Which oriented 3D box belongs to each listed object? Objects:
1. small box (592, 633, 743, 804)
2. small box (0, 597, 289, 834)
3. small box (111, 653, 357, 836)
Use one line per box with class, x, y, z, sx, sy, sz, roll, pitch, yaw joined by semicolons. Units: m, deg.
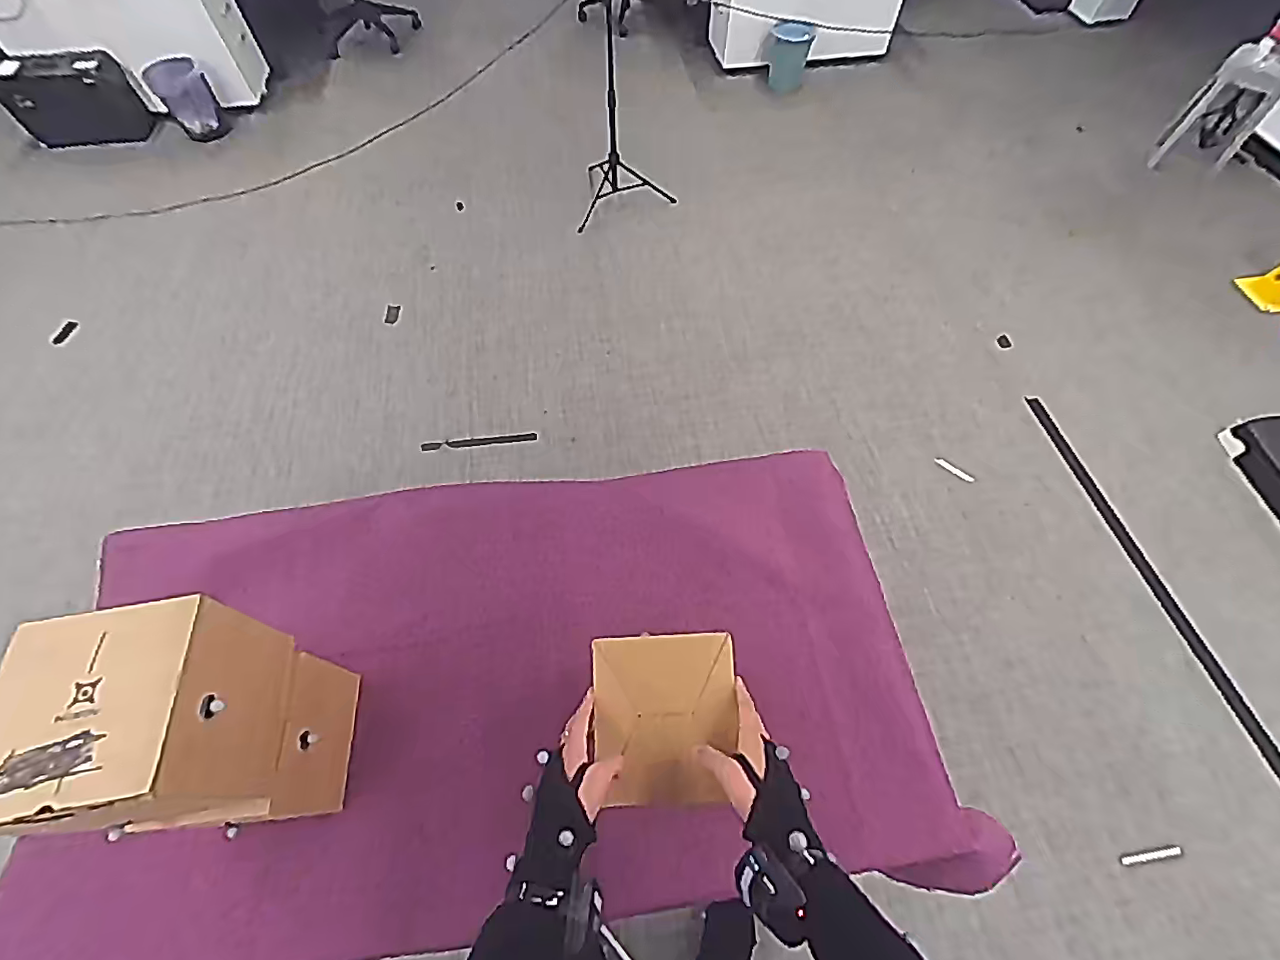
small box;0.031;0.296;0.687;0.168;0.176;0.179;-3;66;0
small box;-0.489;0.238;0.545;0.168;0.176;0.179;-9;59;-5
small box;-0.484;0.331;0.681;0.168;0.176;0.179;-5;60;-4
